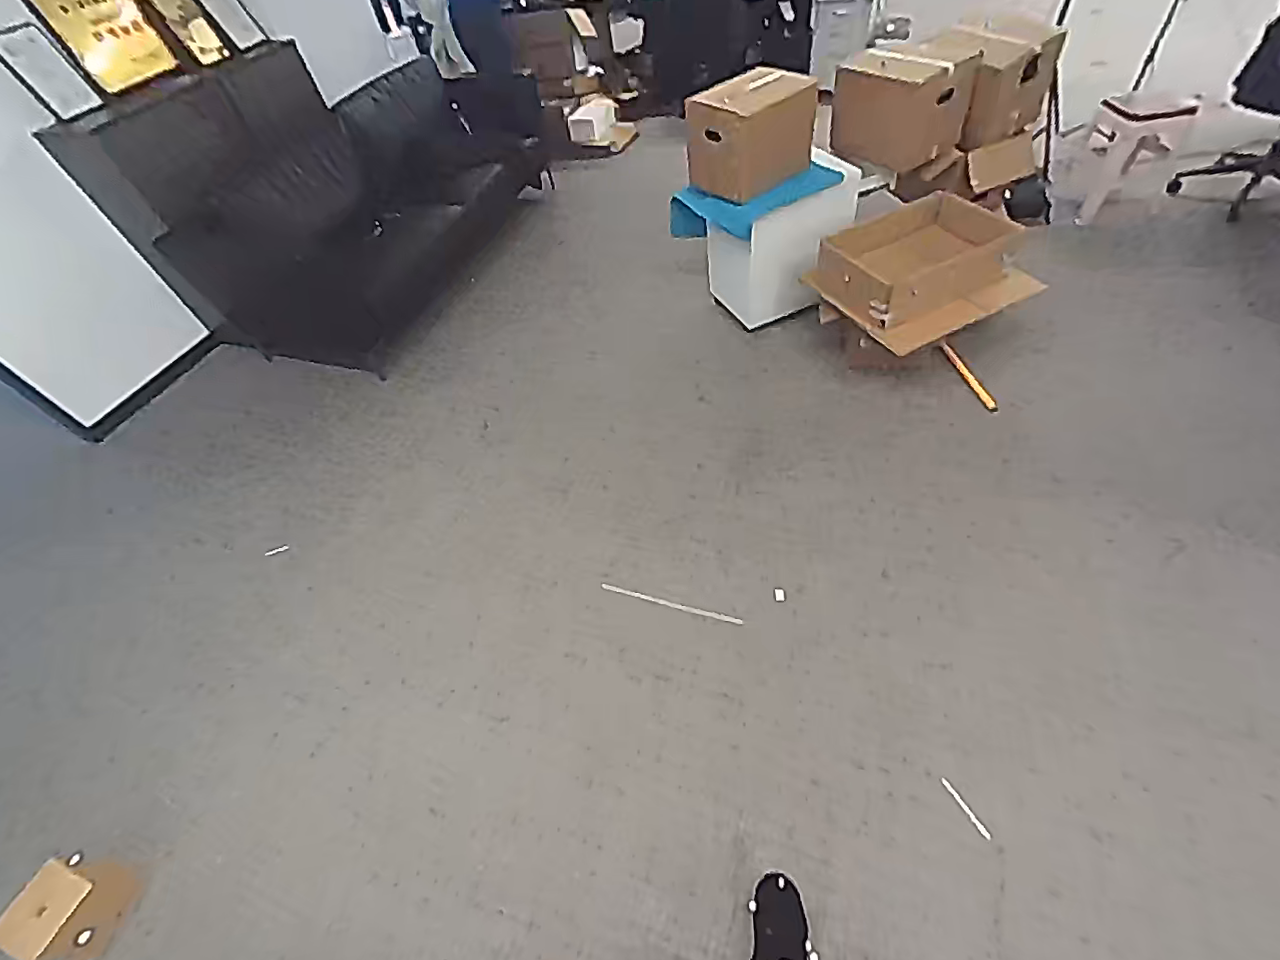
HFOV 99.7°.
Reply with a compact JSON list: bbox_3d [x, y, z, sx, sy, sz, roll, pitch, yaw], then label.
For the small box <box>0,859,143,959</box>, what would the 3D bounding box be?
[{"bbox_3d":[-1.421,1.079,1.351,0.179,0.176,0.168,11,54,19],"label":"small box"}]
